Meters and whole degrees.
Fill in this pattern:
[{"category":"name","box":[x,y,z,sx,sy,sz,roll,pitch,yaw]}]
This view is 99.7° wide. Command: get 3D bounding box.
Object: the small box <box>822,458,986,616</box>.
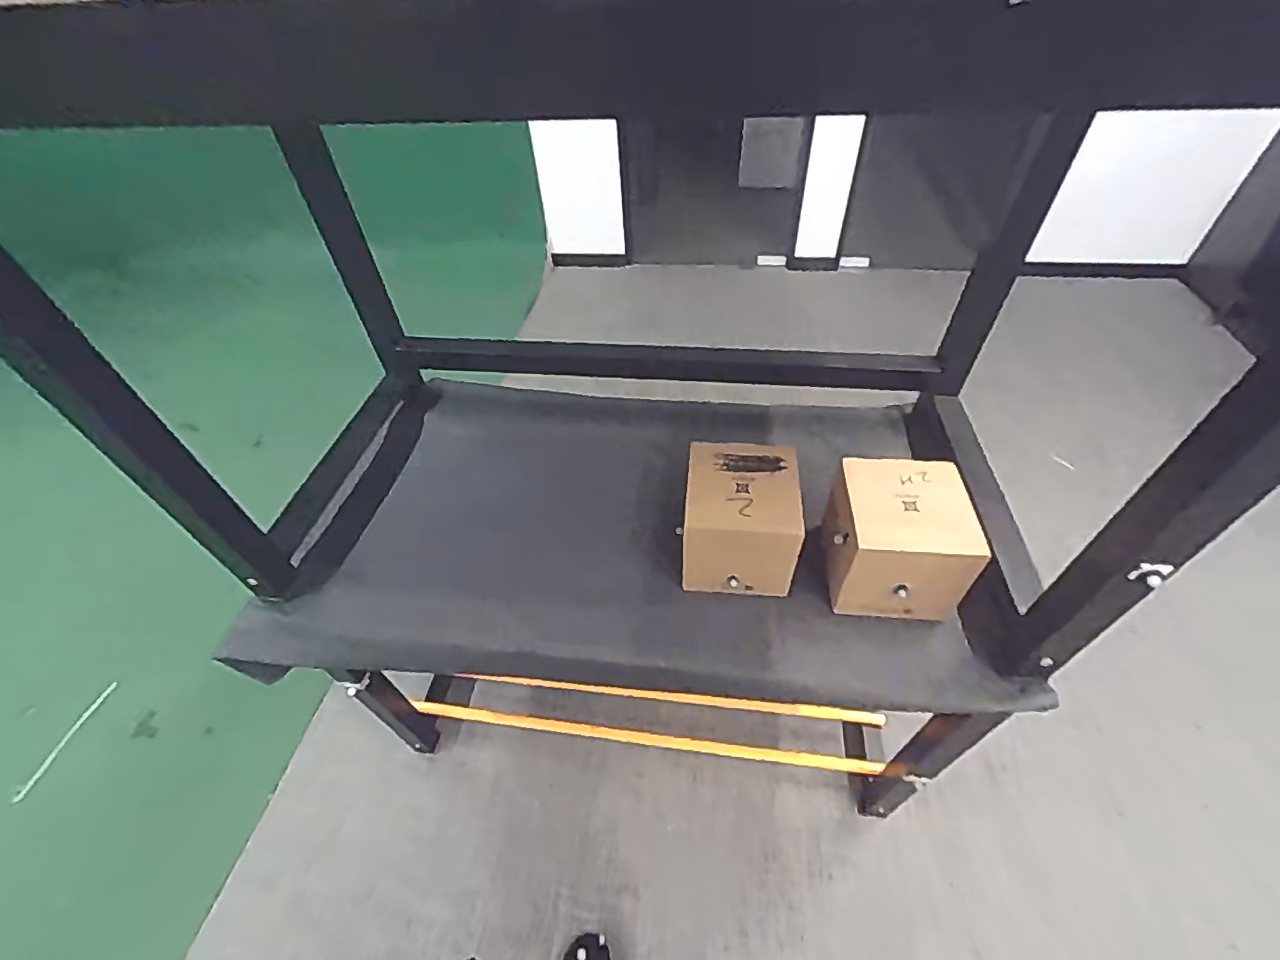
[{"category":"small box","box":[0.381,0.088,0.819,0.168,0.176,0.179,3,46,6]}]
